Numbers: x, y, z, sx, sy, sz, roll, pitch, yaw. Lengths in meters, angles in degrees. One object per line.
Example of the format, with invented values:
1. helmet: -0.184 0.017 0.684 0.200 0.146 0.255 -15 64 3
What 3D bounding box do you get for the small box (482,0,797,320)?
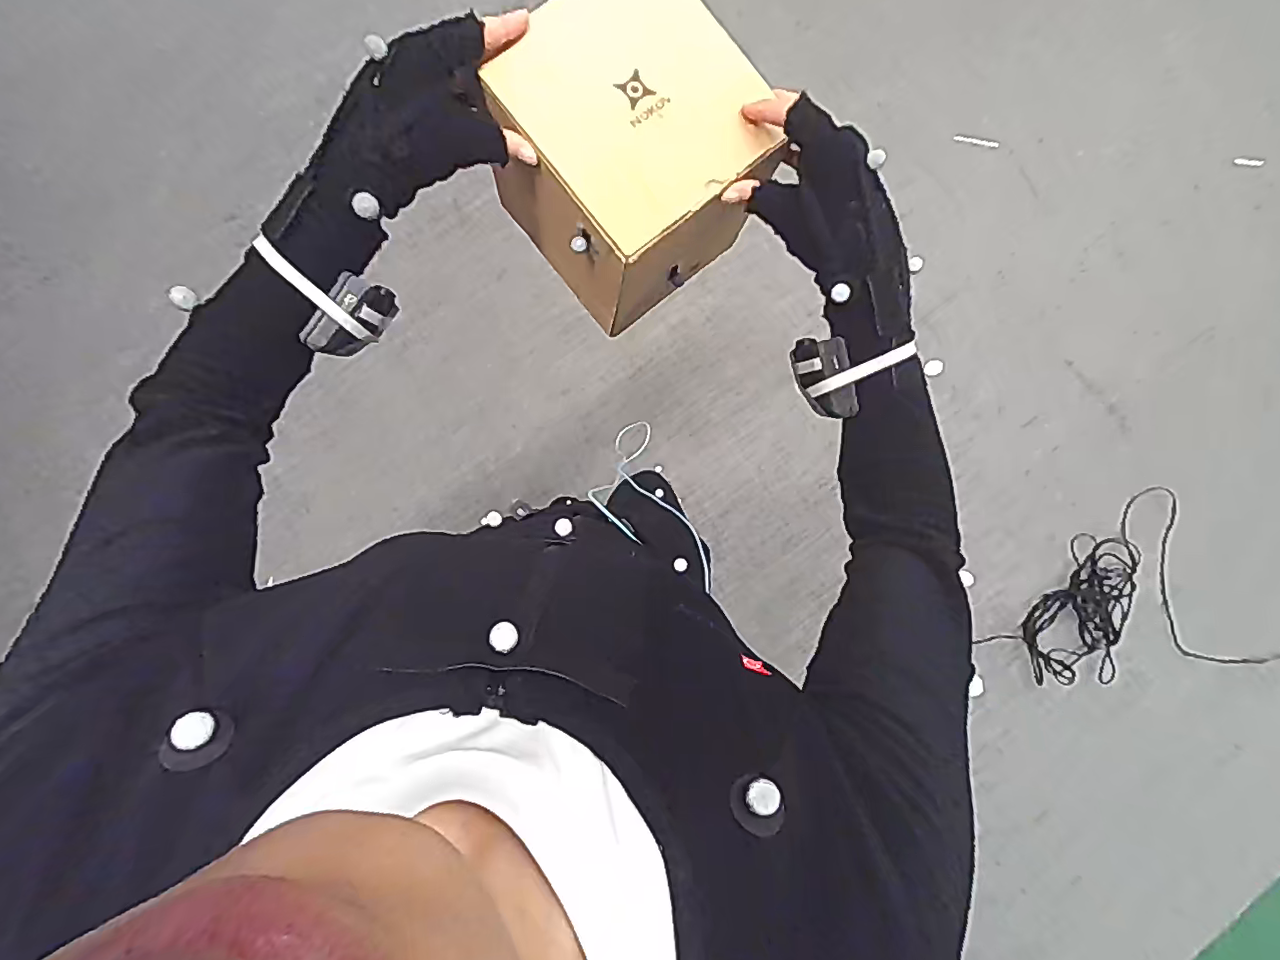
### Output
1. small box: -0.009 -0.272 0.465 0.168 0.176 0.179 -39 94 -8
